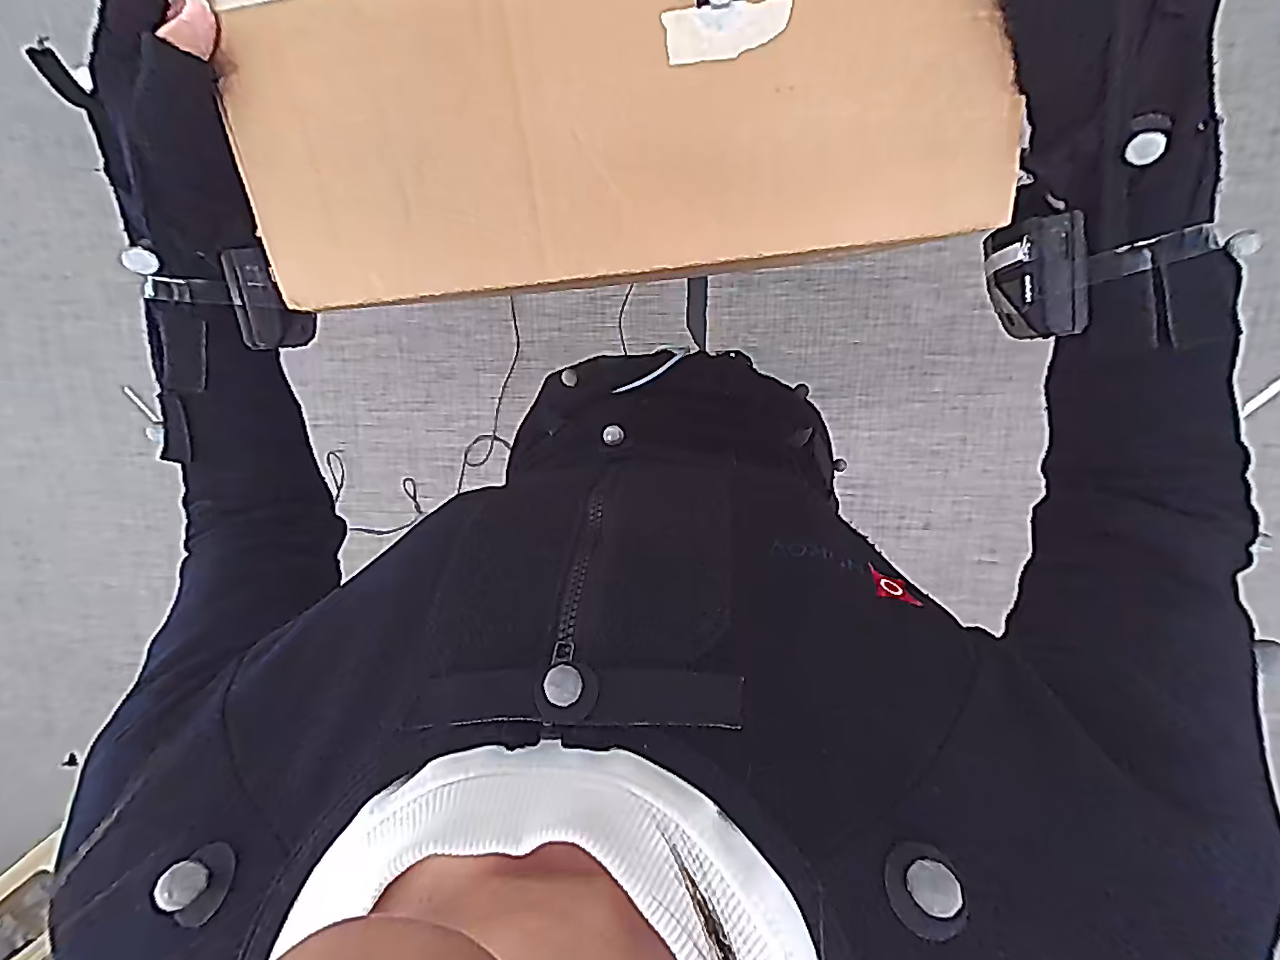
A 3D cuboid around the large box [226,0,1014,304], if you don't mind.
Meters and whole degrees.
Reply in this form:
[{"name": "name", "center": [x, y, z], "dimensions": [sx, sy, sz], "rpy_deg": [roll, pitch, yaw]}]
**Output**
[{"name": "large box", "center": [-0.012, -0.320, 0.401], "dimensions": [0.408, 0.320, 0.320], "rpy_deg": [-4, 110, 8]}]
